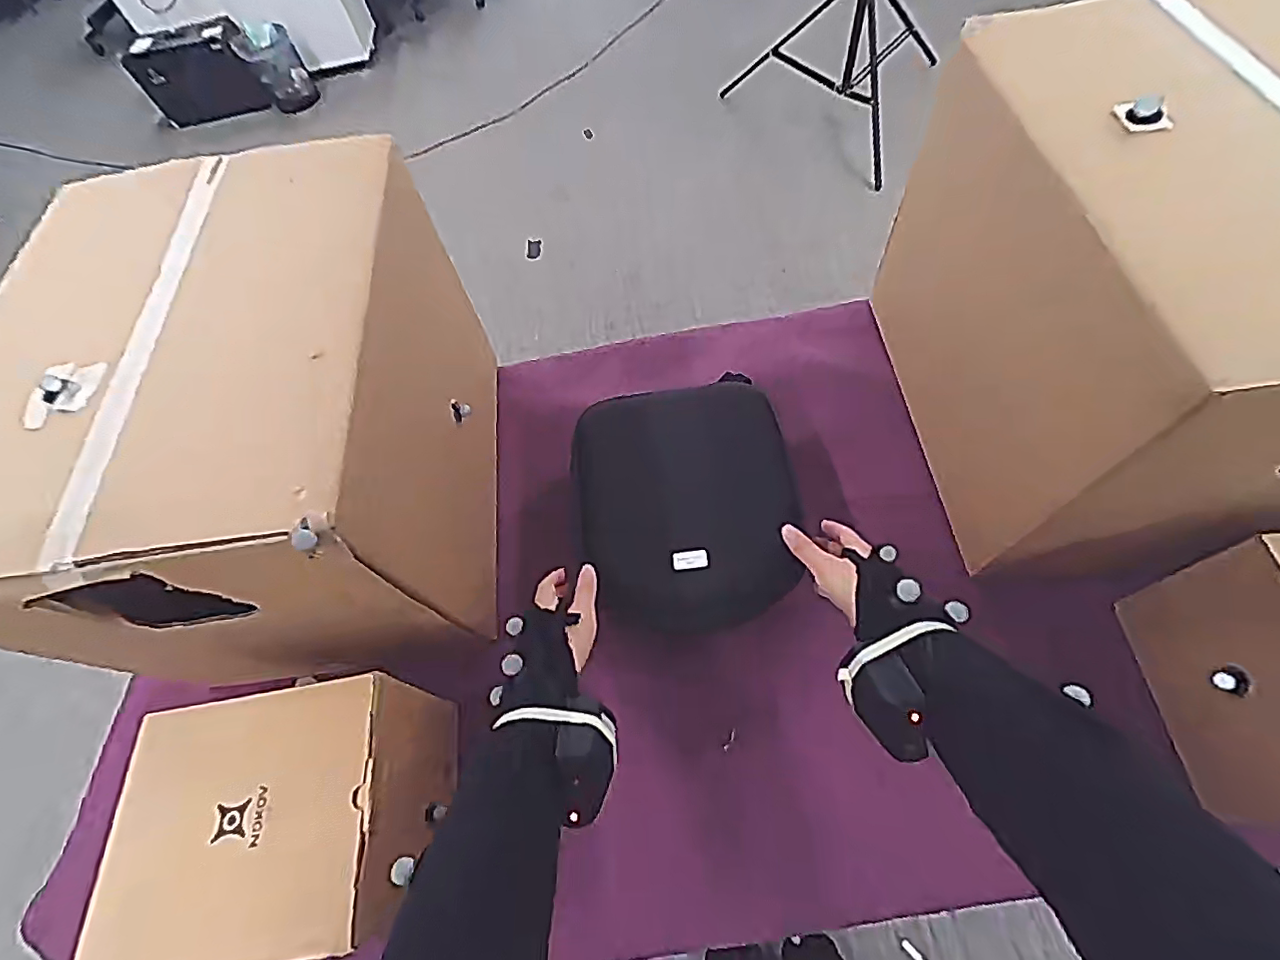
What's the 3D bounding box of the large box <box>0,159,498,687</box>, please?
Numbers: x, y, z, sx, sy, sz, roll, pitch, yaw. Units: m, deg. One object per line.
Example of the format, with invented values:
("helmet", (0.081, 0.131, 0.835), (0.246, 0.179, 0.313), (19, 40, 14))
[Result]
("large box", (-0.343, -0.038, 0.547), (0.320, 0.320, 0.408), (-10, 63, 1))
